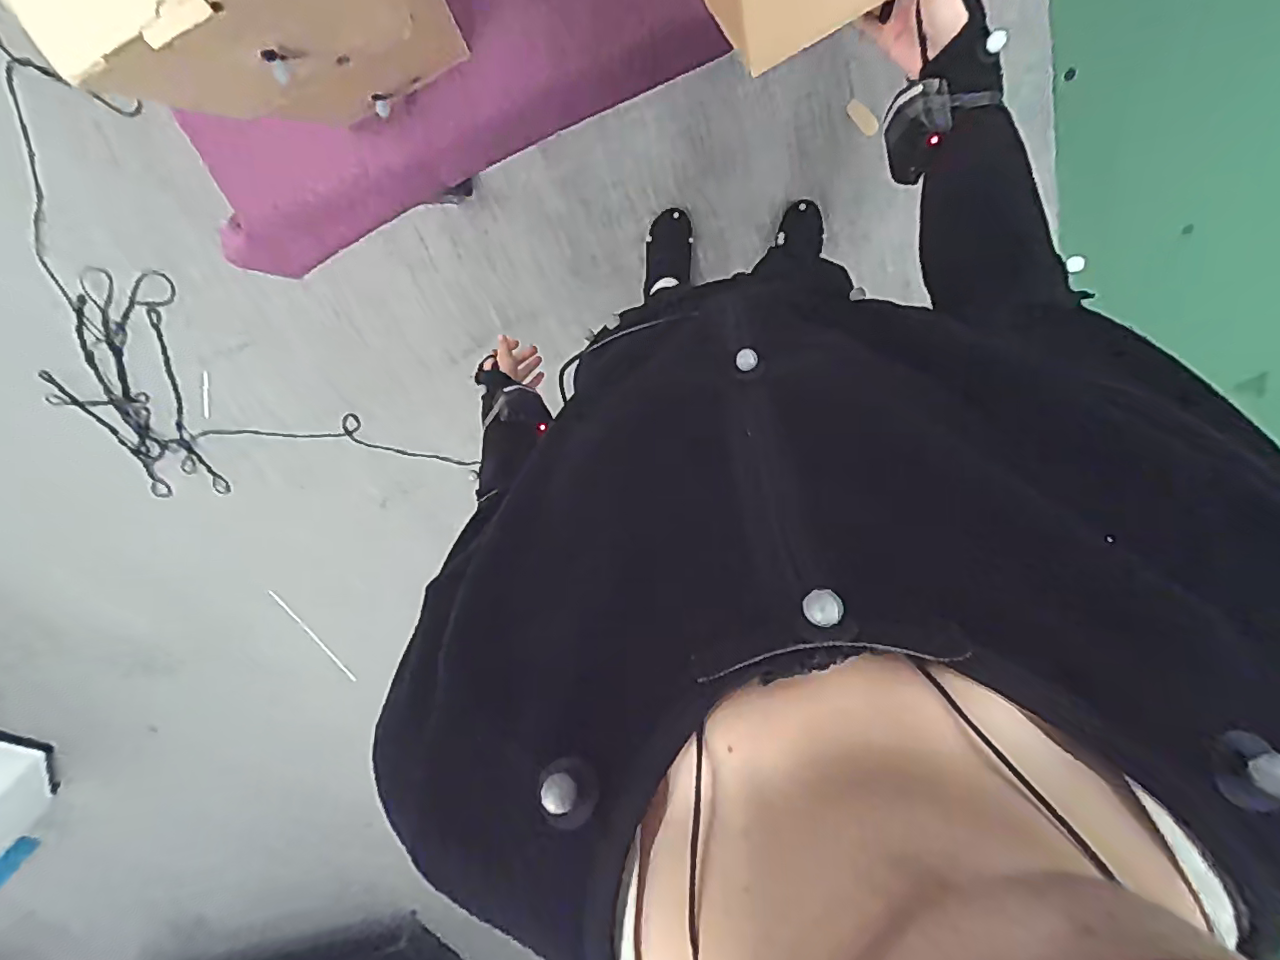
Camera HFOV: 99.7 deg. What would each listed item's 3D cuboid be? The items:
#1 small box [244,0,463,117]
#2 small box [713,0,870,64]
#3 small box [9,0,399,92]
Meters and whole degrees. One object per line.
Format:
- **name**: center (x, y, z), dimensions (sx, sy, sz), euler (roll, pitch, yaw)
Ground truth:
- **small box**: center (-0.286, -0.452, 0.469), dimensions (0.168, 0.176, 0.179), euler (-20, 116, 12)
- **small box**: center (0.117, -0.482, 0.403), dimensions (0.168, 0.176, 0.179), euler (-23, 158, 12)
- **small box**: center (-0.285, -0.368, 0.328), dimensions (0.168, 0.176, 0.179), euler (-19, 116, 11)
